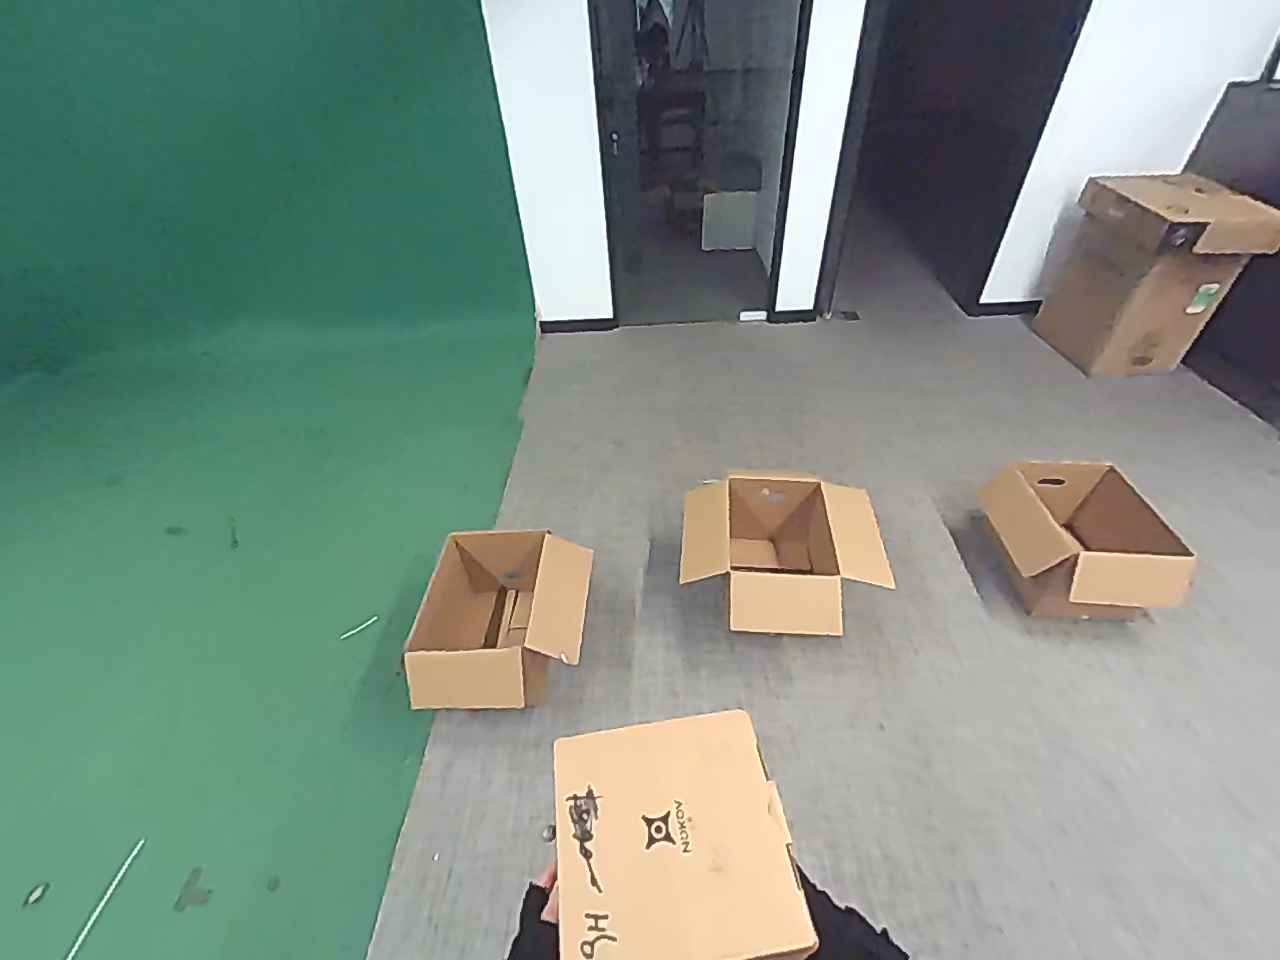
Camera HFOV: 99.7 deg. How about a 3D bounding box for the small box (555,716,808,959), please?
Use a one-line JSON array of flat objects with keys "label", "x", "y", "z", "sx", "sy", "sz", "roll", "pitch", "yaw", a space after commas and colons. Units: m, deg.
[{"label": "small box", "x": 0.020, "y": 0.332, "z": 0.473, "sx": 0.179, "sy": 0.176, "sz": 0.168, "roll": -5, "pitch": 41, "yaw": -6}]
